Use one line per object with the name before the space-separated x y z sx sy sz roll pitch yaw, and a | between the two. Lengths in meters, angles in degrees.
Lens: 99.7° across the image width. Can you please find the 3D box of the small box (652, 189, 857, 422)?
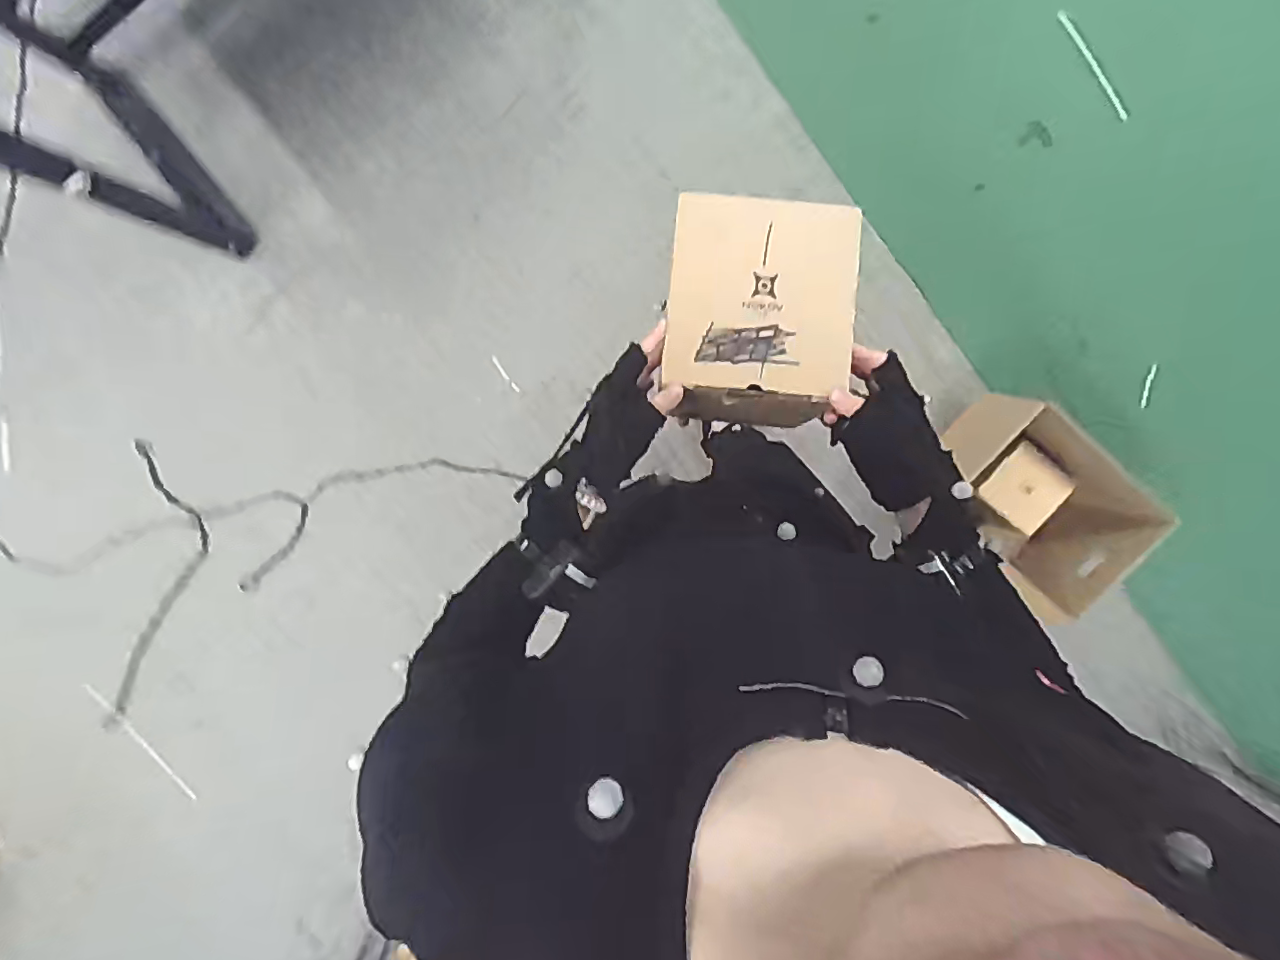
small box | 0.102 -0.160 0.550 0.168 0.176 0.179 5 87 0
